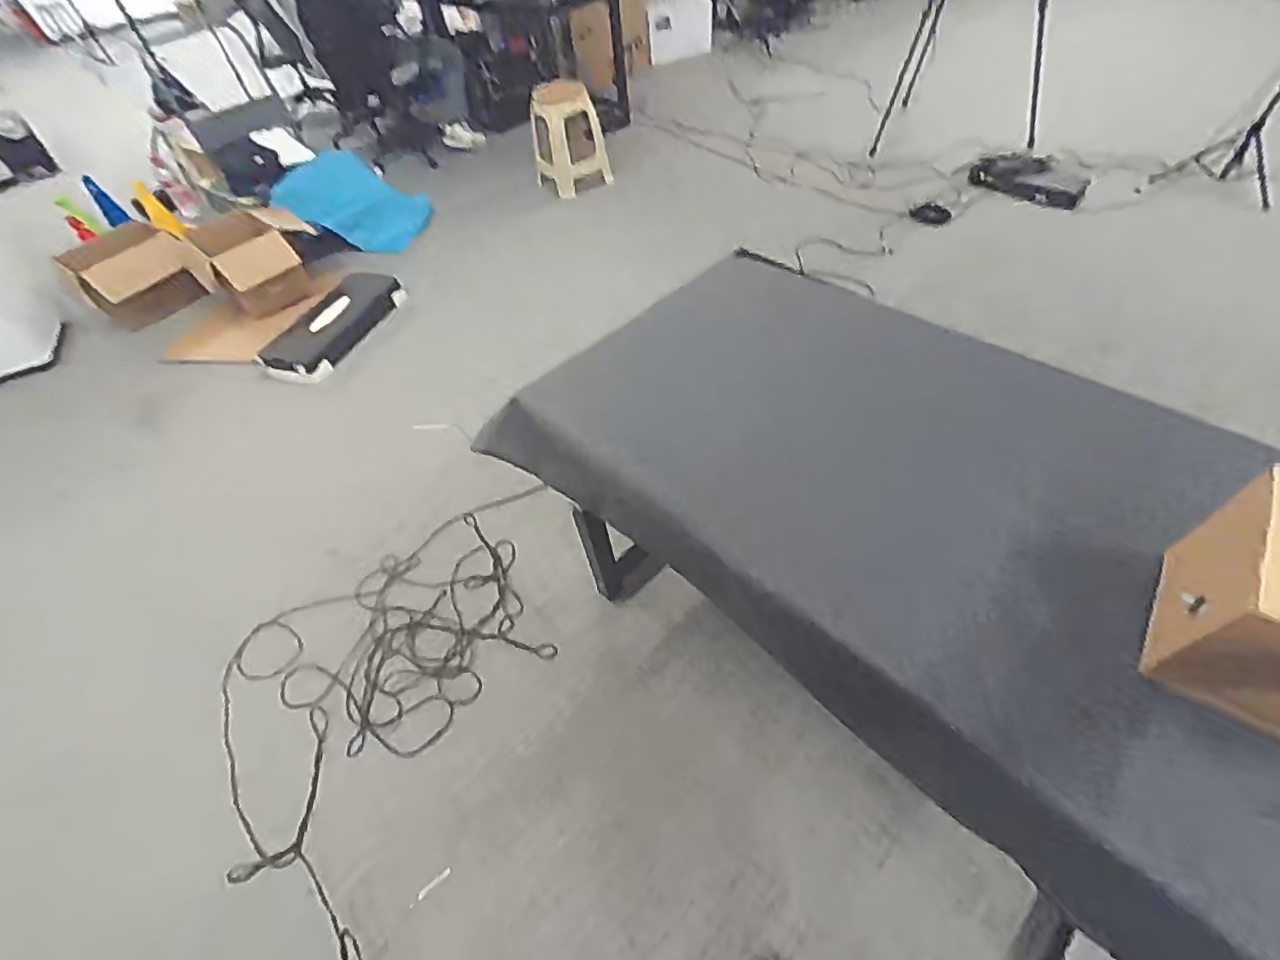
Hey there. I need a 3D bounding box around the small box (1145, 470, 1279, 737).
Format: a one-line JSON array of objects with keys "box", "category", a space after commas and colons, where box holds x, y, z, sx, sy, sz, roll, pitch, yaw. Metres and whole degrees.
[{"box": [0.620, 0.129, 0.498, 0.168, 0.176, 0.179, 27, 60, 26], "category": "small box"}]
